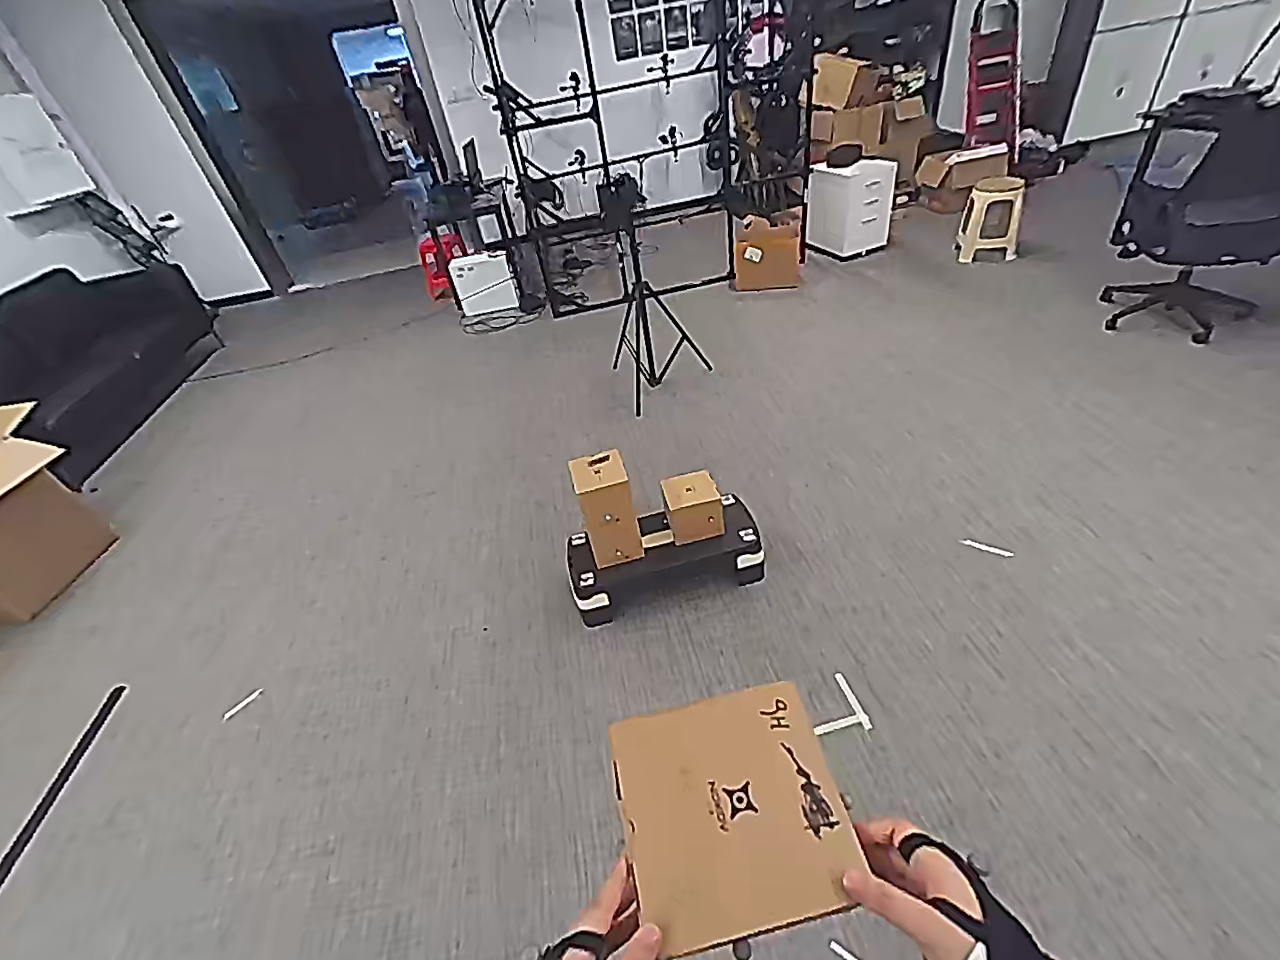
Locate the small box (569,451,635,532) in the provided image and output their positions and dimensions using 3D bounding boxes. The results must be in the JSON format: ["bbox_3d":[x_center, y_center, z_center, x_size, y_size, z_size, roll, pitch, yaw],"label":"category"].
[{"bbox_3d":[-0.122,0.037,1.735,0.168,0.176,0.179,-15,39,-6],"label":"small box"}]

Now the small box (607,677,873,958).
[{"bbox_3d":[0.078,0.309,0.493,0.179,0.176,0.168,-12,48,-4],"label":"small box"}]

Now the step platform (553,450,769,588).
[{"bbox_3d":[0.068,0.127,1.786,0.684,0.204,0.286,-14,38,-5],"label":"step platform"}]

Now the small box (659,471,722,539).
[{"bbox_3d":[0.176,0.098,1.855,0.179,0.176,0.168,-15,38,-4],"label":"small box"}]

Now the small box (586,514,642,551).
[{"bbox_3d":[-0.095,0.166,1.833,0.168,0.176,0.179,-15,38,-5],"label":"small box"}]
